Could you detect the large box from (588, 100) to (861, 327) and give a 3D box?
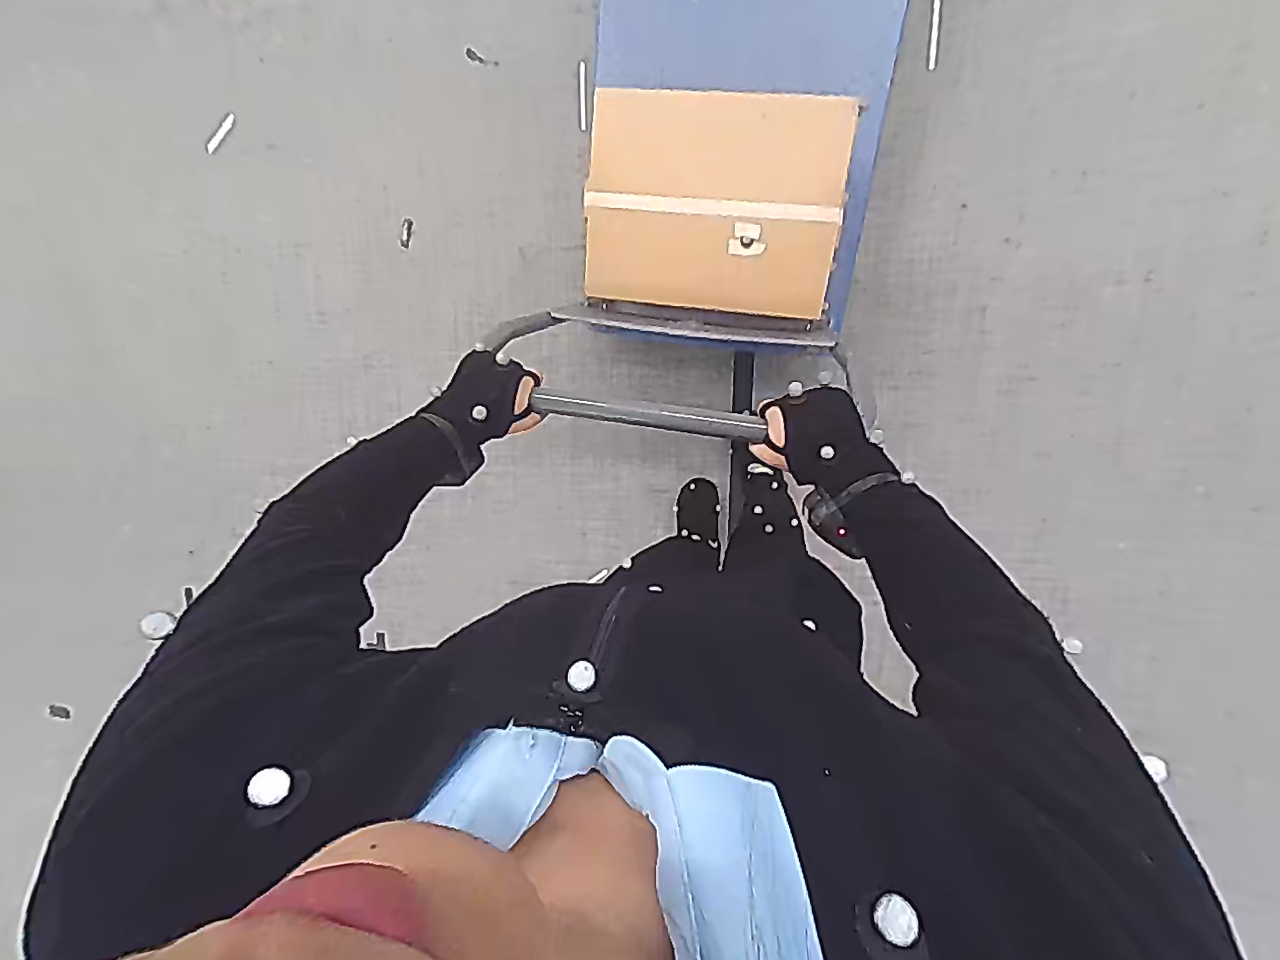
[{"bbox_3d":[0.139,-0.463,0.991,0.408,0.320,0.320,8,111,9],"label":"large box"}]
